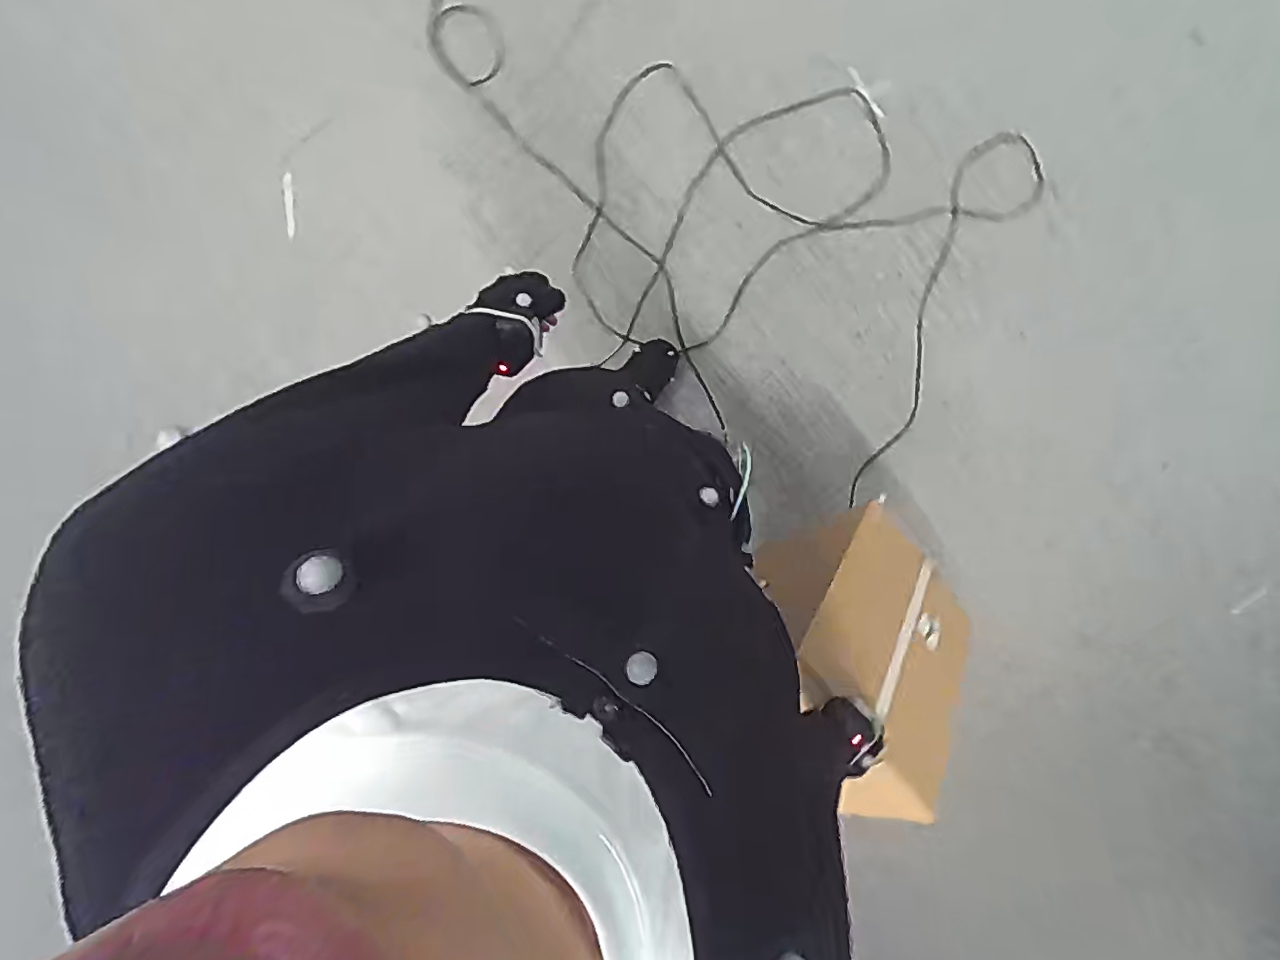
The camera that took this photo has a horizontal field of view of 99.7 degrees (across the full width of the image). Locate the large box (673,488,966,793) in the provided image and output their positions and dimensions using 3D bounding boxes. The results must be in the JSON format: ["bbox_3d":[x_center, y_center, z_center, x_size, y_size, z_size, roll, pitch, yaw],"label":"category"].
[{"bbox_3d":[0.334,0.289,0.994,0.320,0.408,0.320,51,138,-4],"label":"large box"}]
